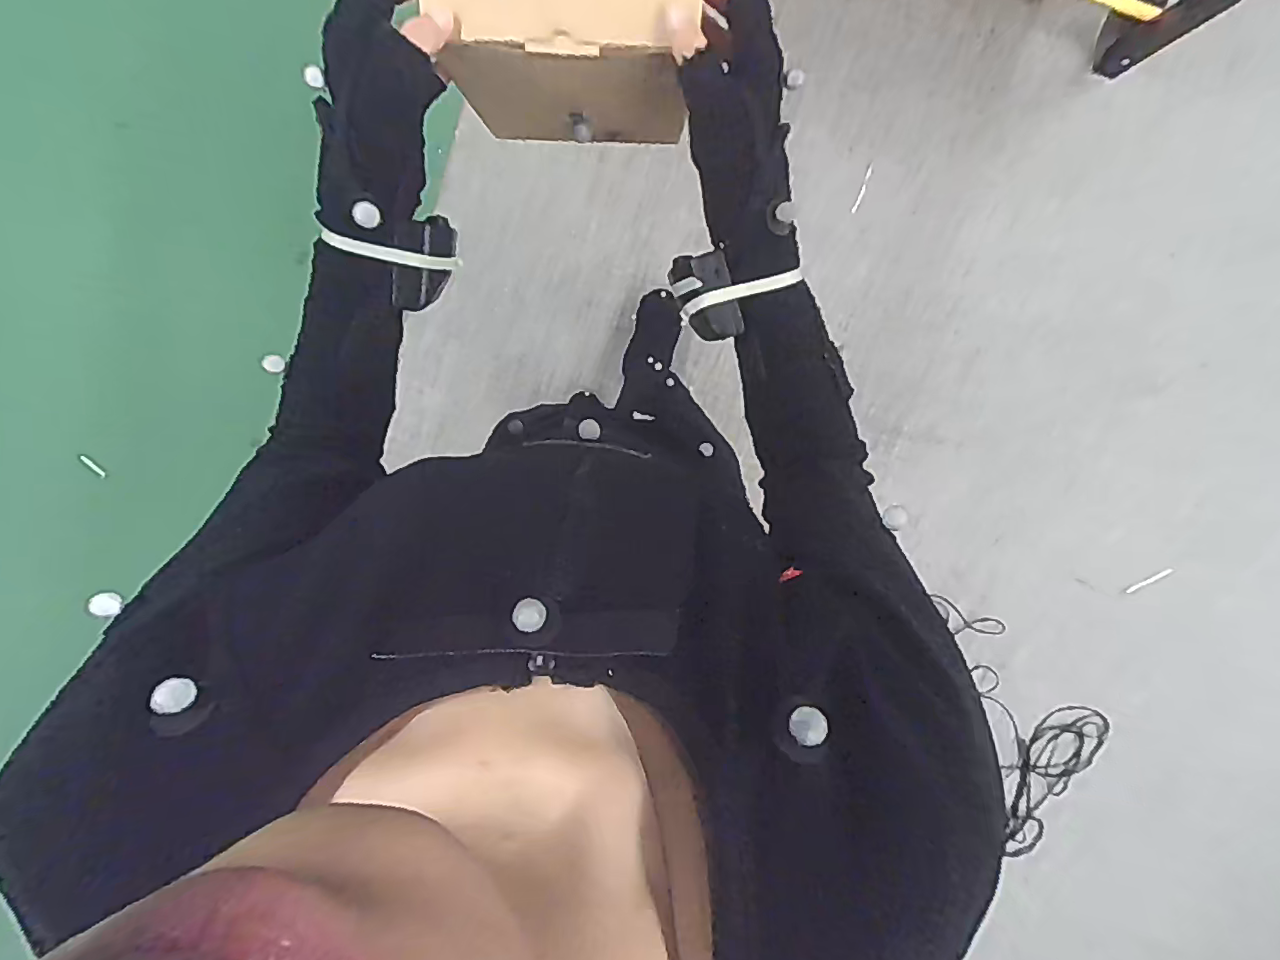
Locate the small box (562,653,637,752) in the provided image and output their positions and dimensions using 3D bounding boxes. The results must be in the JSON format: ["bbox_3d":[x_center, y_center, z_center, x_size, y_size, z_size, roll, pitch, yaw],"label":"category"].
[{"bbox_3d":[-0.111,0.616,1.511,0.168,0.176,0.179,15,98,-6],"label":"small box"}]

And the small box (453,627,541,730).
[{"bbox_3d":[-0.385,0.539,1.488,0.168,0.176,0.179,24,98,-6],"label":"small box"}]
